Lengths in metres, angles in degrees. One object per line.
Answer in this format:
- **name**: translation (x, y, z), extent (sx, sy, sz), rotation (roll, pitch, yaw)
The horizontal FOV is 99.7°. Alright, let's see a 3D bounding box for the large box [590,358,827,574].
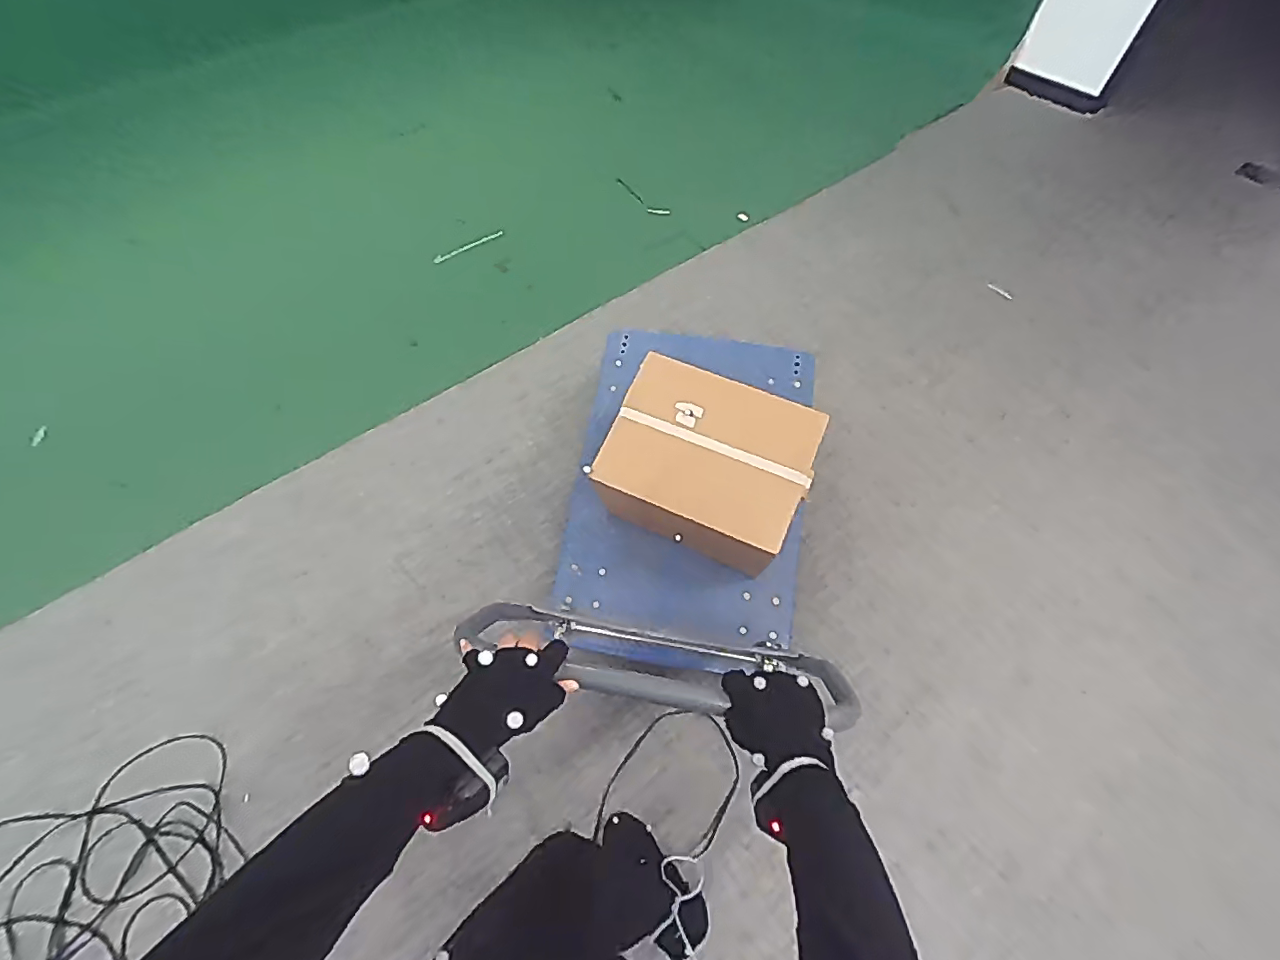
- **large box**: translation (0.154, -0.016, 1.230), extent (0.408, 0.320, 0.320), rotation (23, 75, 12)
